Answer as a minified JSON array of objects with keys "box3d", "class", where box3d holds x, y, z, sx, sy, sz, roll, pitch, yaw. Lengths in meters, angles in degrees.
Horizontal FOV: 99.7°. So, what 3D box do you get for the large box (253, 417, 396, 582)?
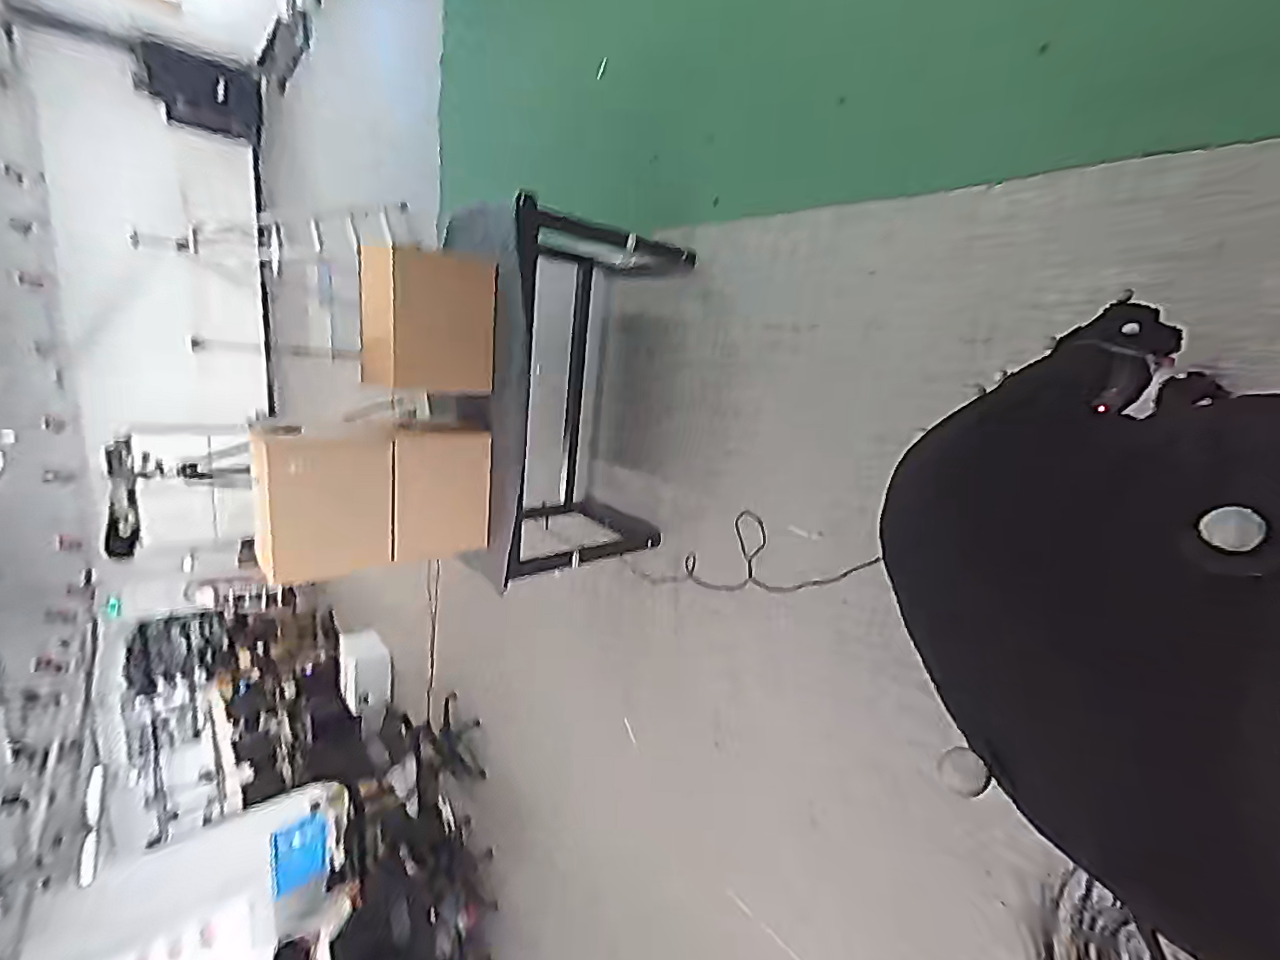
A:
[{"box3d":[-0.930,0.039,1.599,0.320,0.320,0.408,21,109,44],"class":"large box"}]
